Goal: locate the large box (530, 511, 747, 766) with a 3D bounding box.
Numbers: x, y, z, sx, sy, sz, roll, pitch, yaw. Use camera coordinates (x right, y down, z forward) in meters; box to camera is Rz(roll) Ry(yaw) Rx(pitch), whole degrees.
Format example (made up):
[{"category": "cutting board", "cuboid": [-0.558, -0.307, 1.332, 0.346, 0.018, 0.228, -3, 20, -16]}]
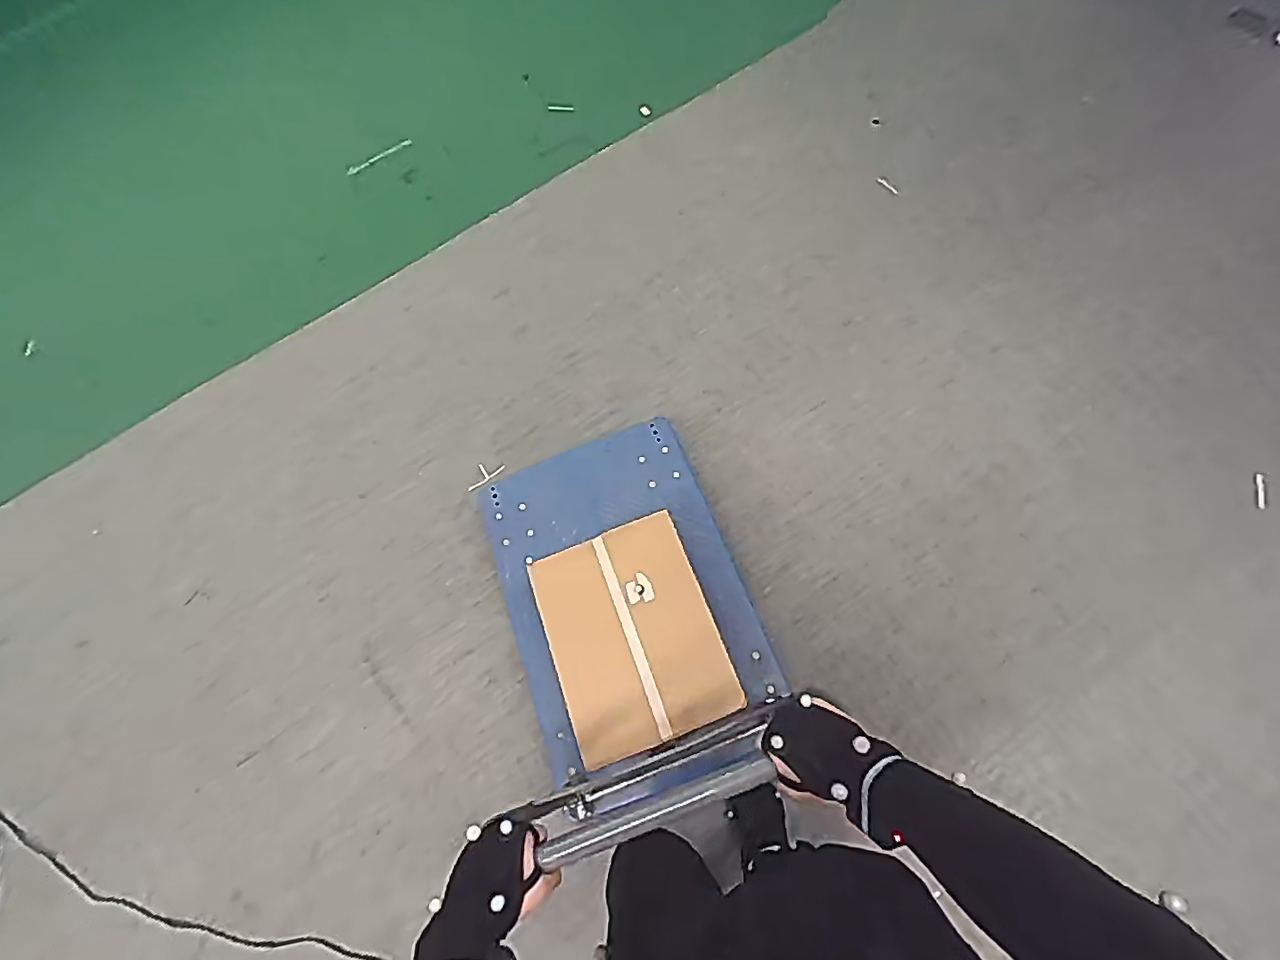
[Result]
[{"category": "large box", "cuboid": [0.004, 0.342, 1.174, 0.320, 0.320, 0.408, -21, 67, -1]}]
